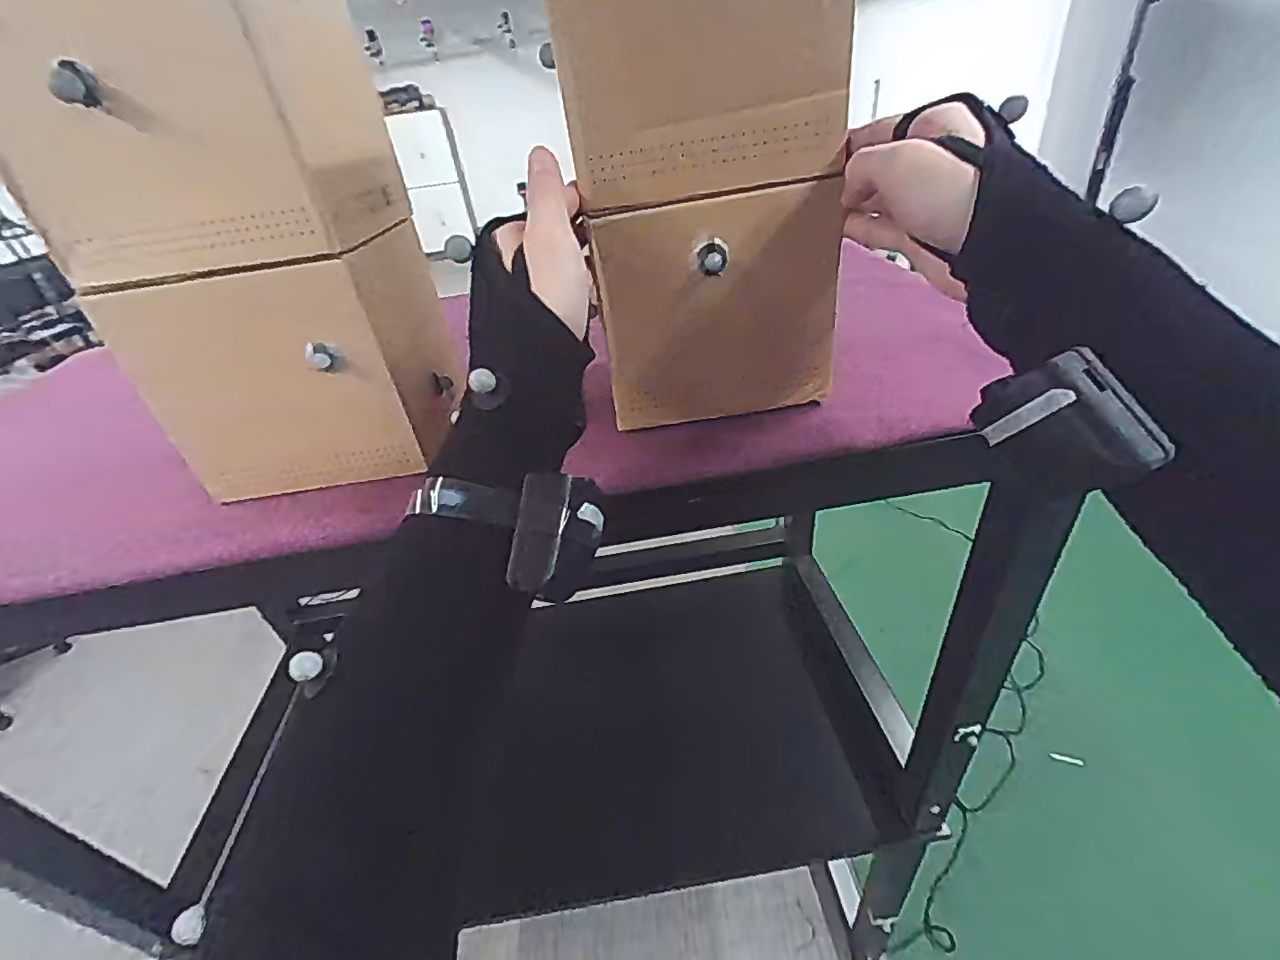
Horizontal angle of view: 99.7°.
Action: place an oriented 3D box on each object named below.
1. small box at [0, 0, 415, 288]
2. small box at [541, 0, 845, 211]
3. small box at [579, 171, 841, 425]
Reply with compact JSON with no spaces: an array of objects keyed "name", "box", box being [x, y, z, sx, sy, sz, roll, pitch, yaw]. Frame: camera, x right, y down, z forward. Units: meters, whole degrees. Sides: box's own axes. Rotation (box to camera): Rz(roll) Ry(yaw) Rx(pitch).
[{"name":"small box","box":[-0.283,-0.239,0.361,0.179,0.176,0.168,-9,35,1]},{"name":"small box","box":[0.032,-0.291,0.369,0.179,0.176,0.168,-7,35,3]},{"name":"small box","box":[0.053,-0.158,0.459,0.179,0.176,0.168,-8,34,2]}]
